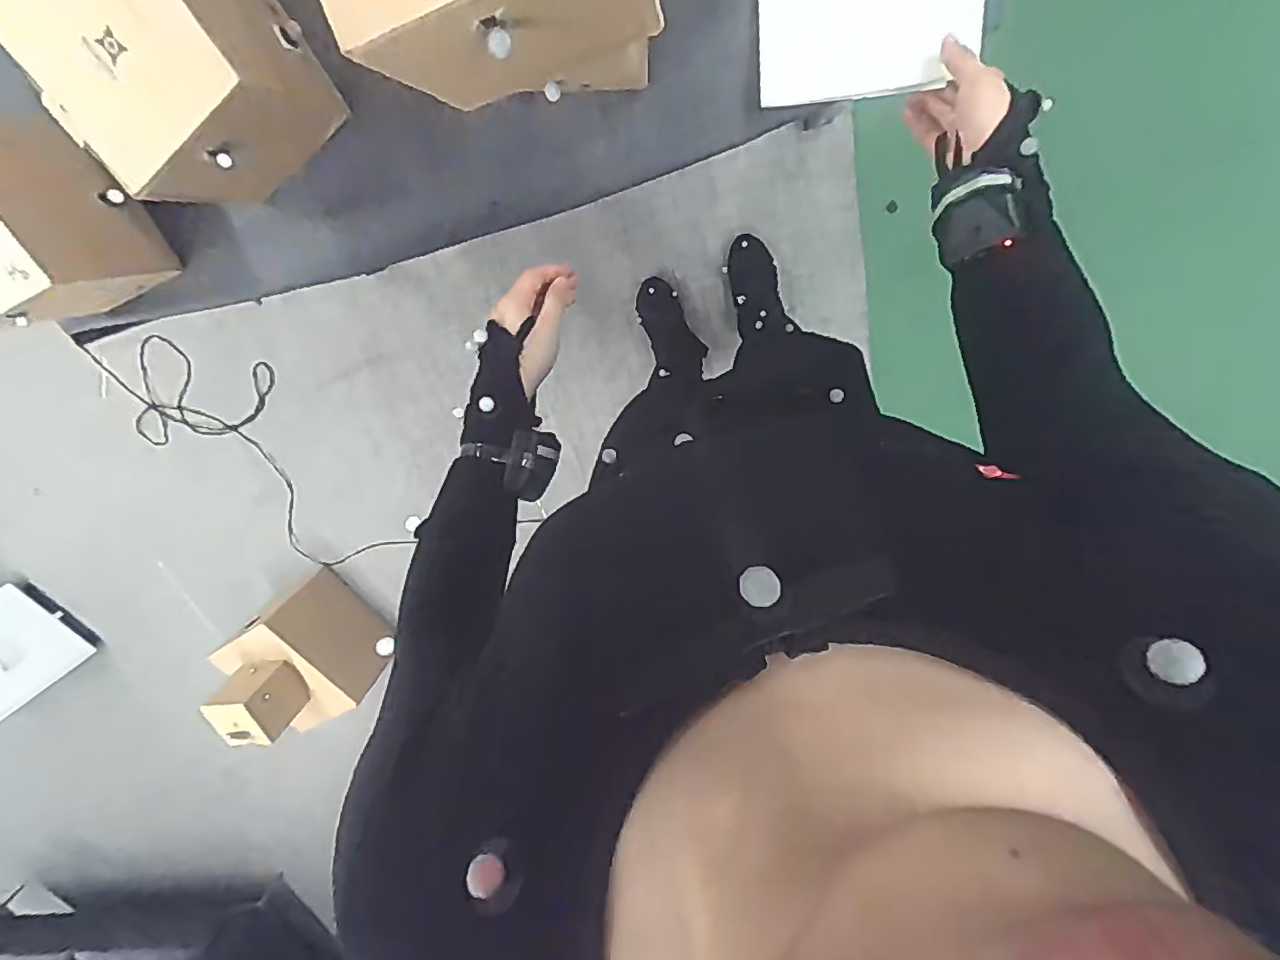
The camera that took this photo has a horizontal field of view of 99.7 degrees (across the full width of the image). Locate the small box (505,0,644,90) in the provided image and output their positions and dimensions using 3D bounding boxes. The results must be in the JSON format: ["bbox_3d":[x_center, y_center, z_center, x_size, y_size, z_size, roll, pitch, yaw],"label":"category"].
[{"bbox_3d":[-0.088,-0.458,0.463,0.168,0.176,0.179,4,117,8],"label":"small box"}]

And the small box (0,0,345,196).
[{"bbox_3d":[-0.448,-0.409,0.544,0.179,0.176,0.168,-27,110,19],"label":"small box"}]

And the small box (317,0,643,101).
[{"bbox_3d":[-0.101,-0.364,0.329,0.179,0.176,0.168,-12,114,15],"label":"small box"}]

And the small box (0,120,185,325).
[{"bbox_3d":[-0.714,-0.297,0.638,0.168,0.176,0.179,-16,113,16],"label":"small box"}]
